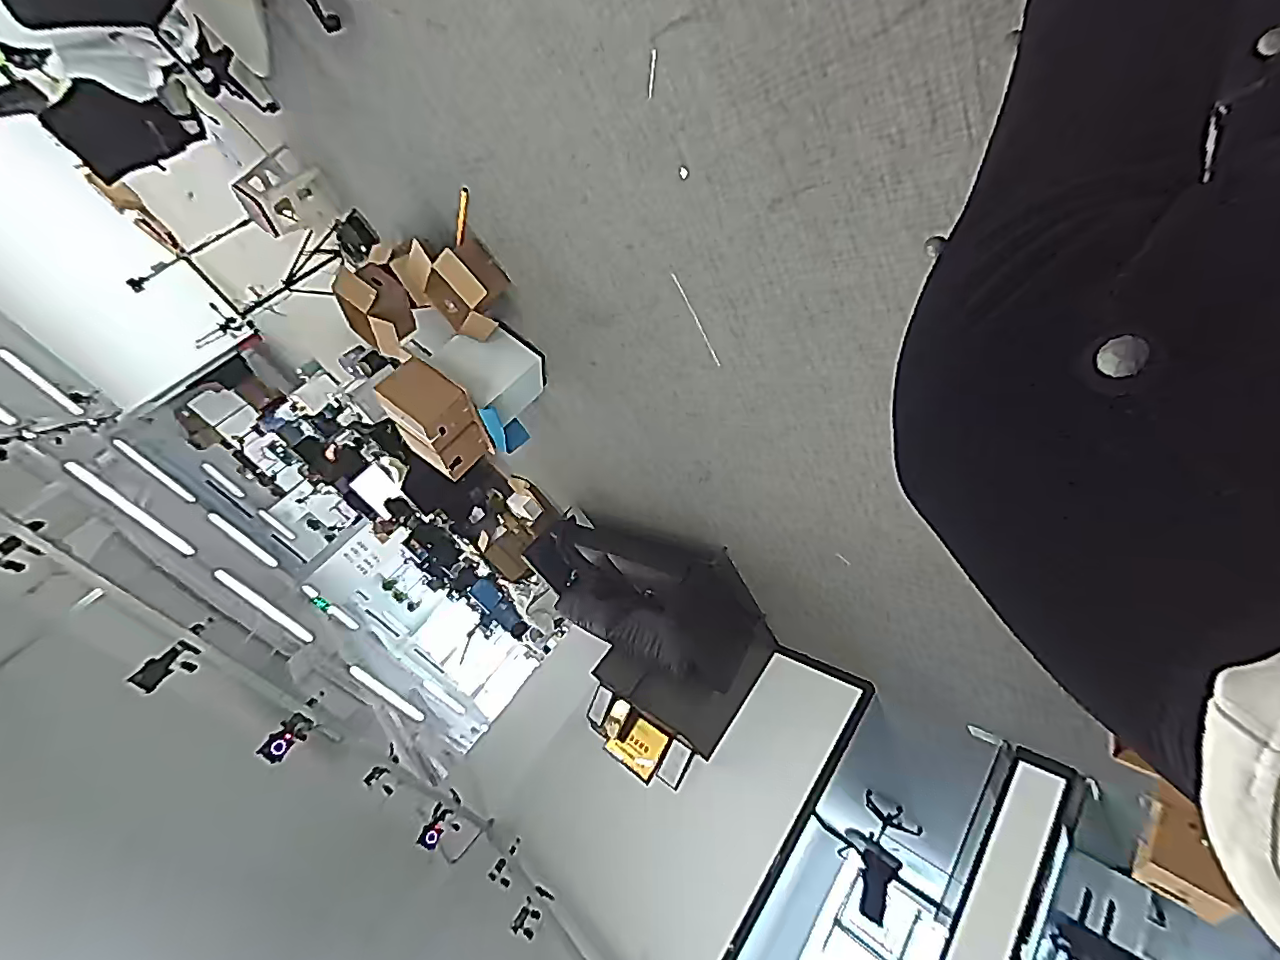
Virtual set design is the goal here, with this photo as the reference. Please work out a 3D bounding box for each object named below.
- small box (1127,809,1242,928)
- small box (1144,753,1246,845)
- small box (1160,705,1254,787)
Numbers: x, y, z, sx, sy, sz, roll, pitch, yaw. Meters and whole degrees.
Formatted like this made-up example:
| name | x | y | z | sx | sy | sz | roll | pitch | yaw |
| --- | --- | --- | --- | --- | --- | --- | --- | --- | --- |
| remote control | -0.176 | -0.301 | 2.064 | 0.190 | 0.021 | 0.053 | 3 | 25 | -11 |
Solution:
| name | x | y | z | sx | sy | sz | roll | pitch | yaw |
| --- | --- | --- | --- | --- | --- | --- | --- | --- | --- |
| small box | 1.416 | 1.006 | 1.408 | 0.168 | 0.176 | 0.179 | 20 | 146 | 41 |
| small box | 1.513 | 0.893 | 1.477 | 0.168 | 0.176 | 0.179 | 13 | 141 | 49 |
| small box | 1.615 | 0.787 | 1.545 | 0.168 | 0.176 | 0.179 | 12 | 141 | 48 |
